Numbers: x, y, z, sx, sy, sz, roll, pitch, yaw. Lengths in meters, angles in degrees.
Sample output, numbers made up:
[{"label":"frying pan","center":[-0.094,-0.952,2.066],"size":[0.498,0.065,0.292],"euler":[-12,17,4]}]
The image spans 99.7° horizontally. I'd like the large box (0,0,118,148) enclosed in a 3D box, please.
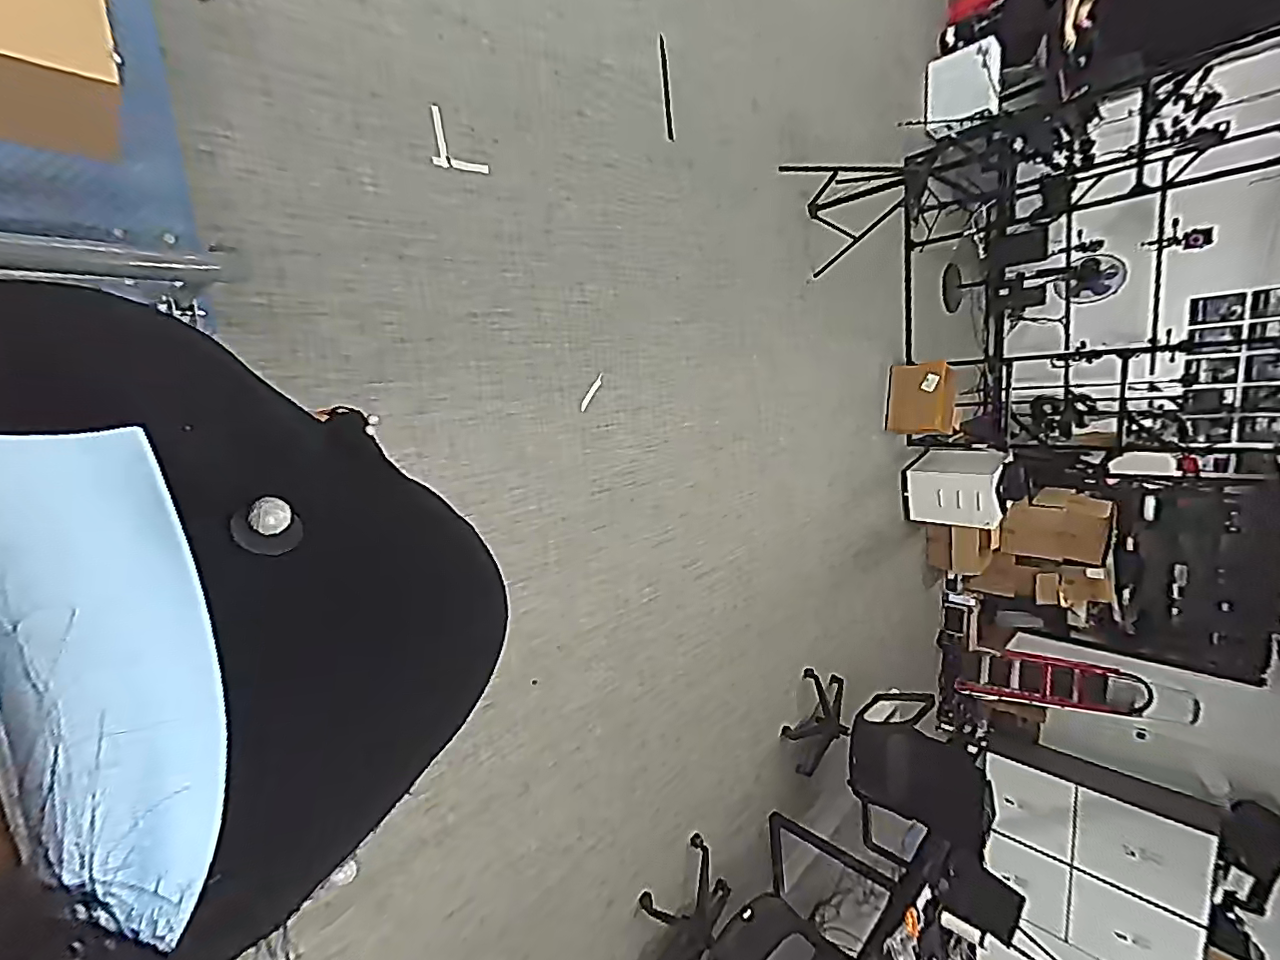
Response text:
[{"label":"large box","center":[-0.973,-0.686,0.690],"size":[0.408,0.320,0.320],"euler":[-11,101,-43]}]
